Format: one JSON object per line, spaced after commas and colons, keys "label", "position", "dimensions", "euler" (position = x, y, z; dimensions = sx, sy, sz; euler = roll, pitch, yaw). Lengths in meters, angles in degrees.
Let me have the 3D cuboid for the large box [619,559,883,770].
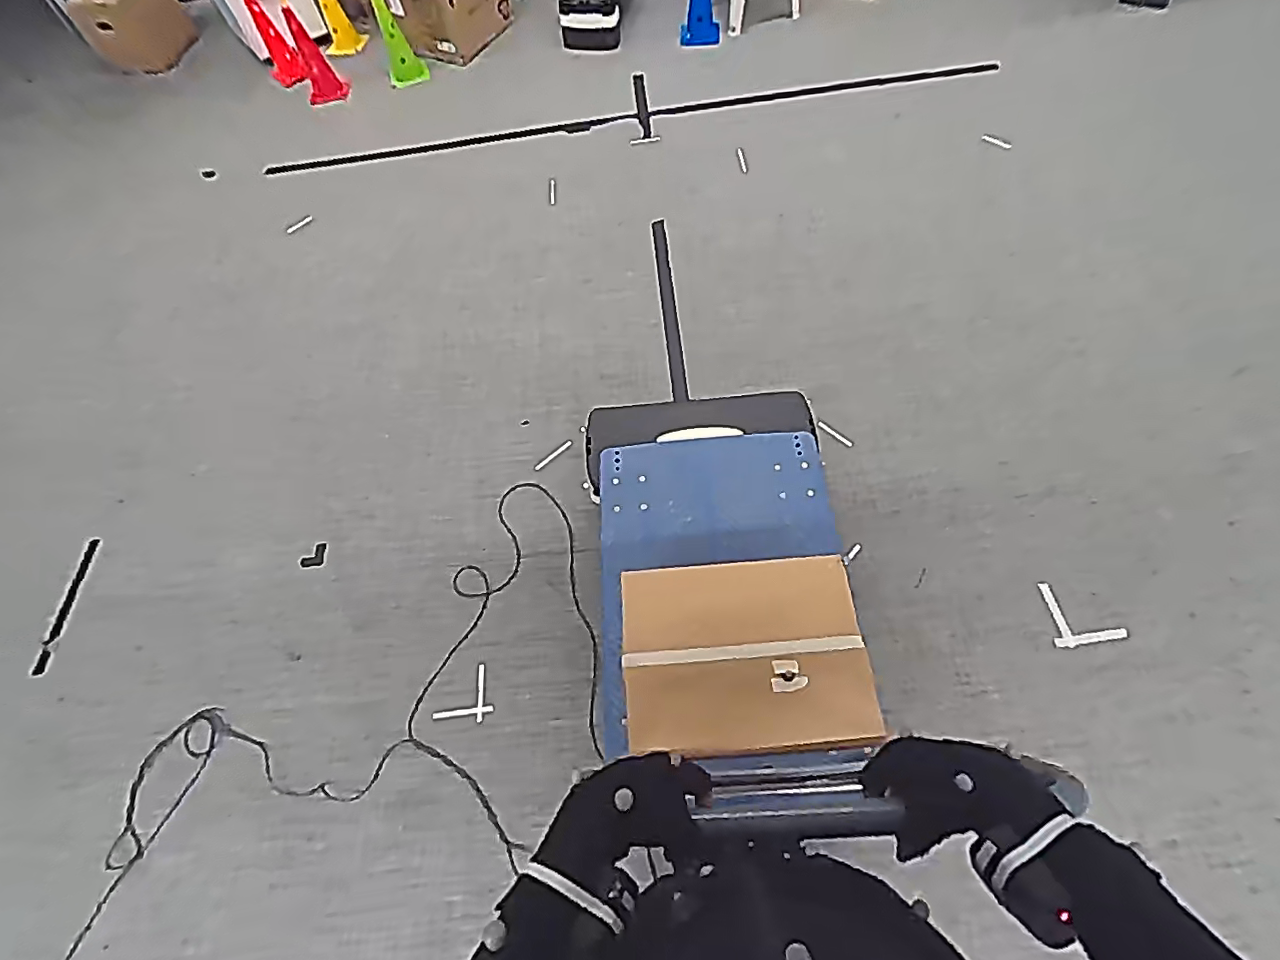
{"label": "large box", "position": [0.179, 0.367, 1.040], "dimensions": [0.408, 0.320, 0.320], "euler": [-5, 63, 1]}
